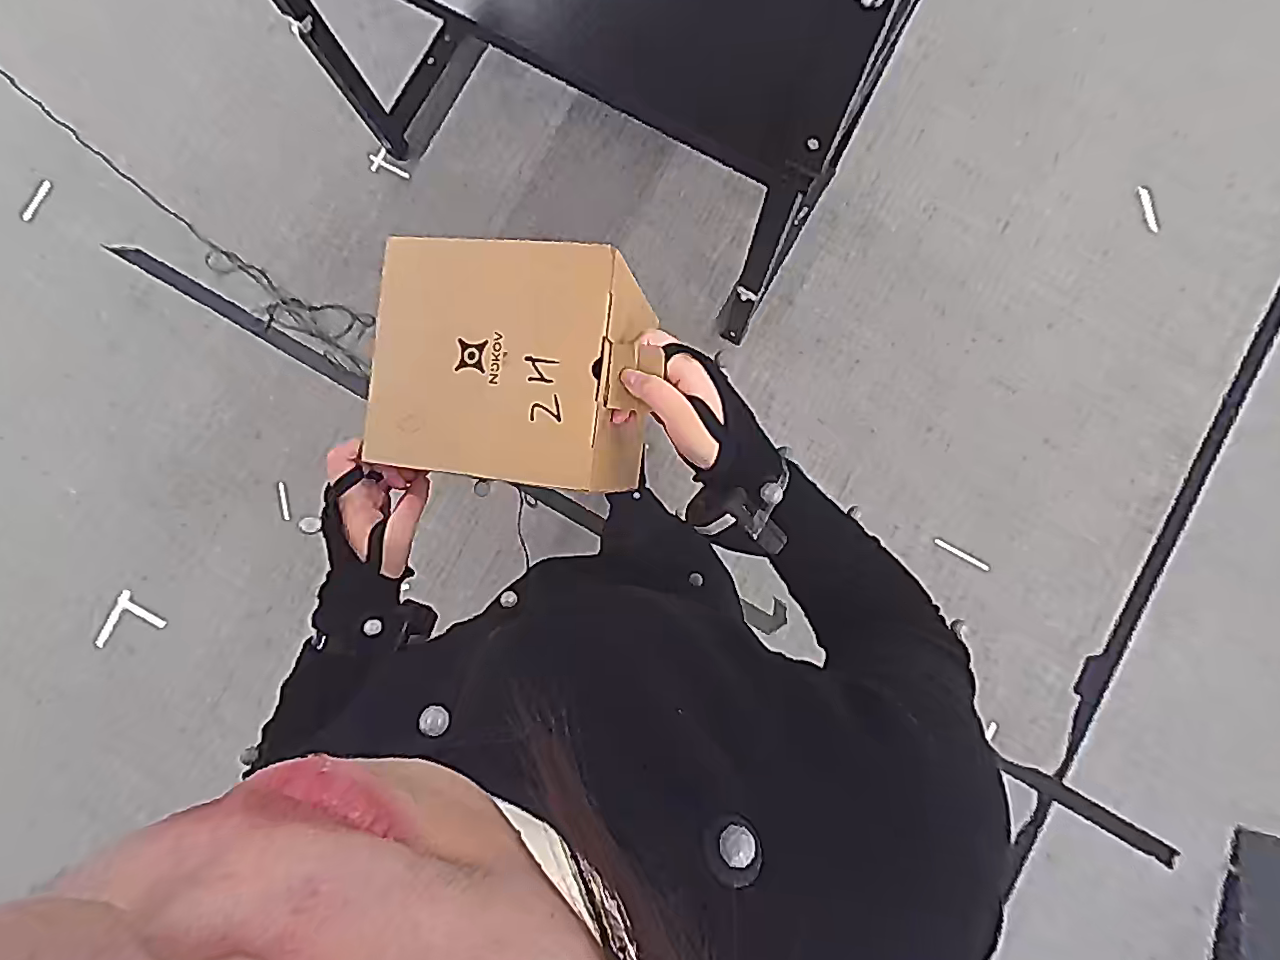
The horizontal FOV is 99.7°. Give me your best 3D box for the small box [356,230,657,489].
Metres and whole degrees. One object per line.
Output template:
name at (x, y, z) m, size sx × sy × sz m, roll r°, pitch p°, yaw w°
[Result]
small box at (-0.093, -0.085, 0.444) m, size 0.179 × 0.176 × 0.168 m, roll 7°, pitch 92°, yaw 11°
